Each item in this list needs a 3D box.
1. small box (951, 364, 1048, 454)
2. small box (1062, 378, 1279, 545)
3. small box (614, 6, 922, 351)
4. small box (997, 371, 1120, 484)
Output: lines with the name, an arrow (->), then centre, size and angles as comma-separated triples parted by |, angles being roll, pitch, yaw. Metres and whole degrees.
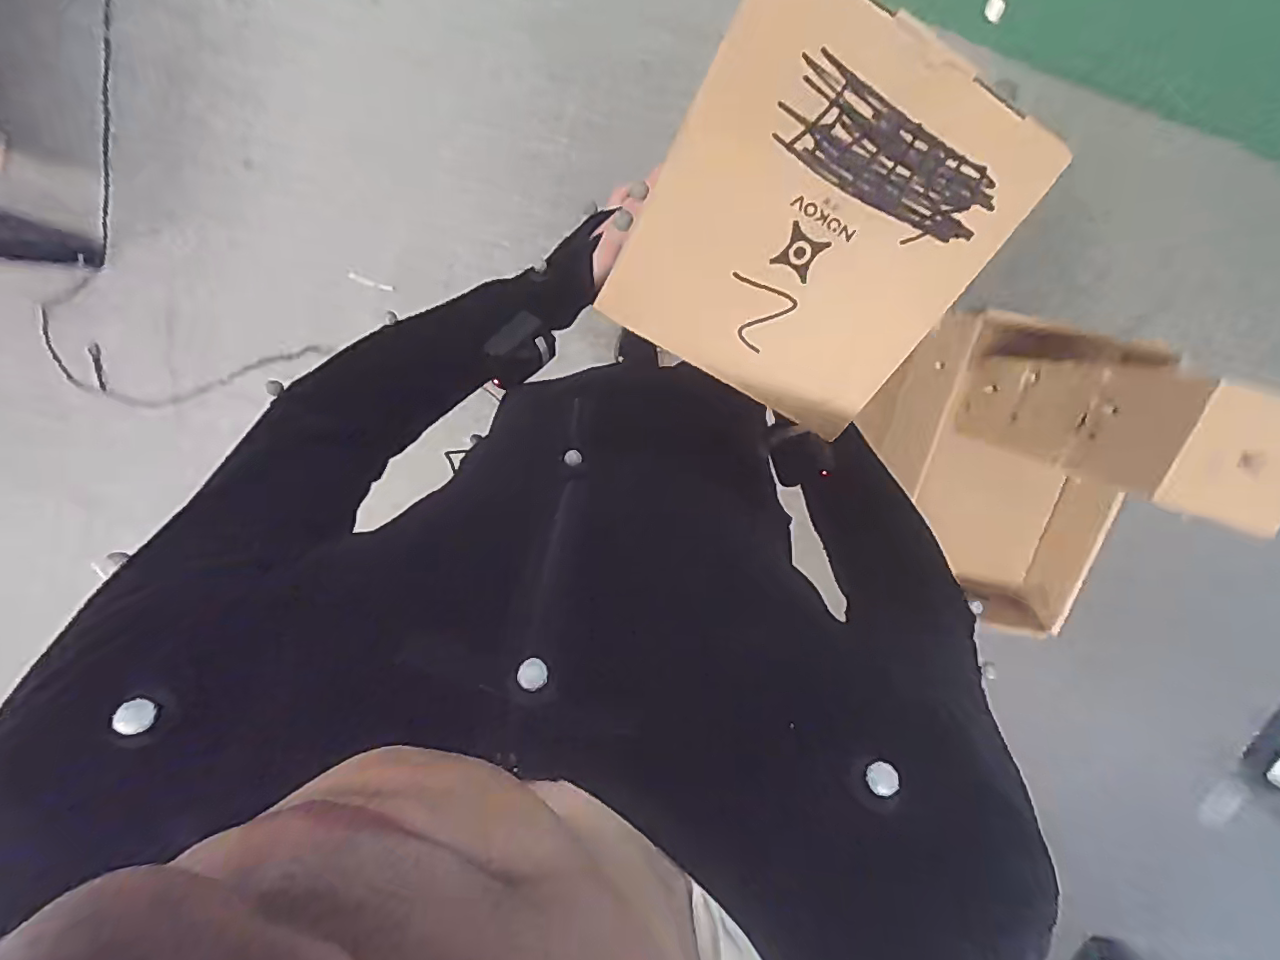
small box -> 0.755, -0.130, 1.061 | 0.179, 0.176, 0.168 | 11, 106, -3
small box -> 0.753, -0.036, 0.747 | 0.179, 0.176, 0.168 | 17, 106, -4
small box -> 0.095, -0.247, 0.471 | 0.168, 0.176, 0.179 | 26, 119, -12
small box -> 0.752, -0.080, 0.904 | 0.179, 0.176, 0.168 | 15, 107, -4
